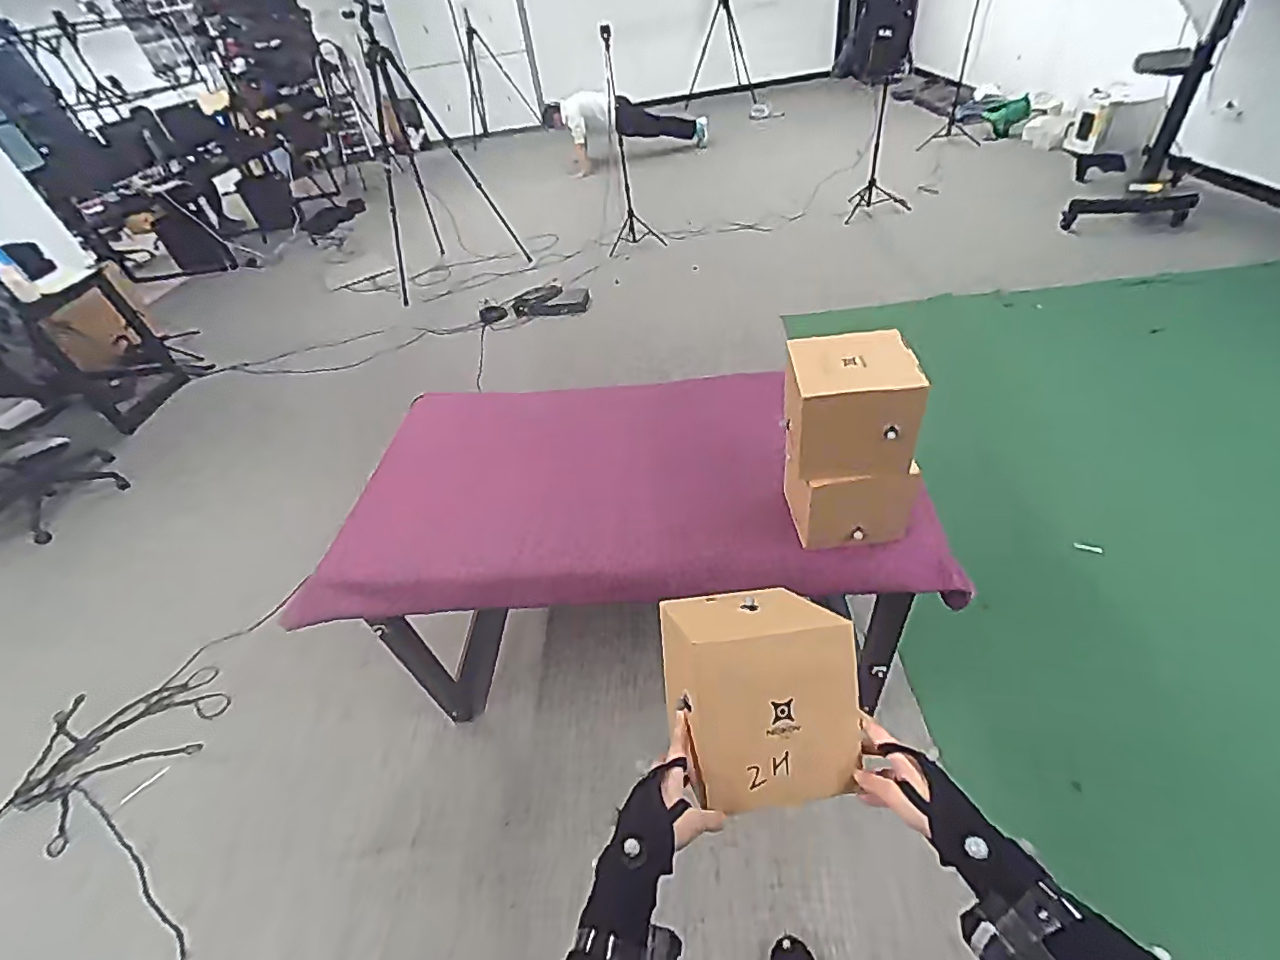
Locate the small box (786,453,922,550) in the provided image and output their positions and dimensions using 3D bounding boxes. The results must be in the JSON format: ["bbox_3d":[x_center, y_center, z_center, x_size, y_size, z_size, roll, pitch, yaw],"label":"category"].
[{"bbox_3d":[0.368,0.007,0.967,0.179,0.176,0.168,-7,42,4],"label":"small box"}]

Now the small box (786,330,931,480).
[{"bbox_3d":[0.333,-0.116,0.865,0.179,0.176,0.168,-4,43,9],"label":"small box"}]

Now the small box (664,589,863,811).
[{"bbox_3d":[0.125,0.225,0.606,0.168,0.179,0.176,-4,2,-8],"label":"small box"}]
